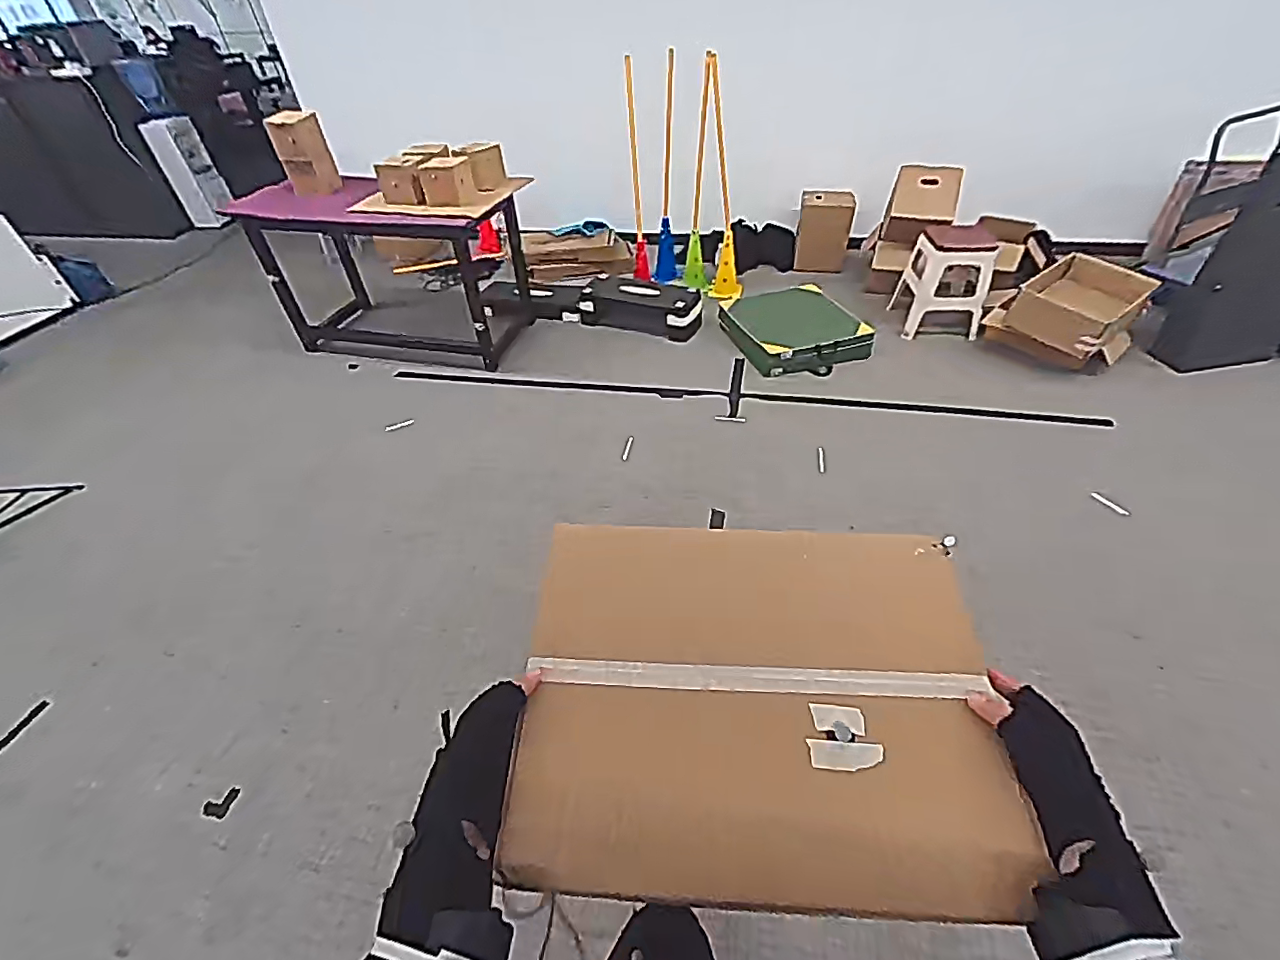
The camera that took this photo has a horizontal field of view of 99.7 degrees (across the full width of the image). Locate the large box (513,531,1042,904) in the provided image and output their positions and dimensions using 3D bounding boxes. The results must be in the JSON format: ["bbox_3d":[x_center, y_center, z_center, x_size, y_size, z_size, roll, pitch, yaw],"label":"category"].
[{"bbox_3d":[0.107,0.273,0.610,0.408,0.320,0.320,2,53,3],"label":"large box"}]
